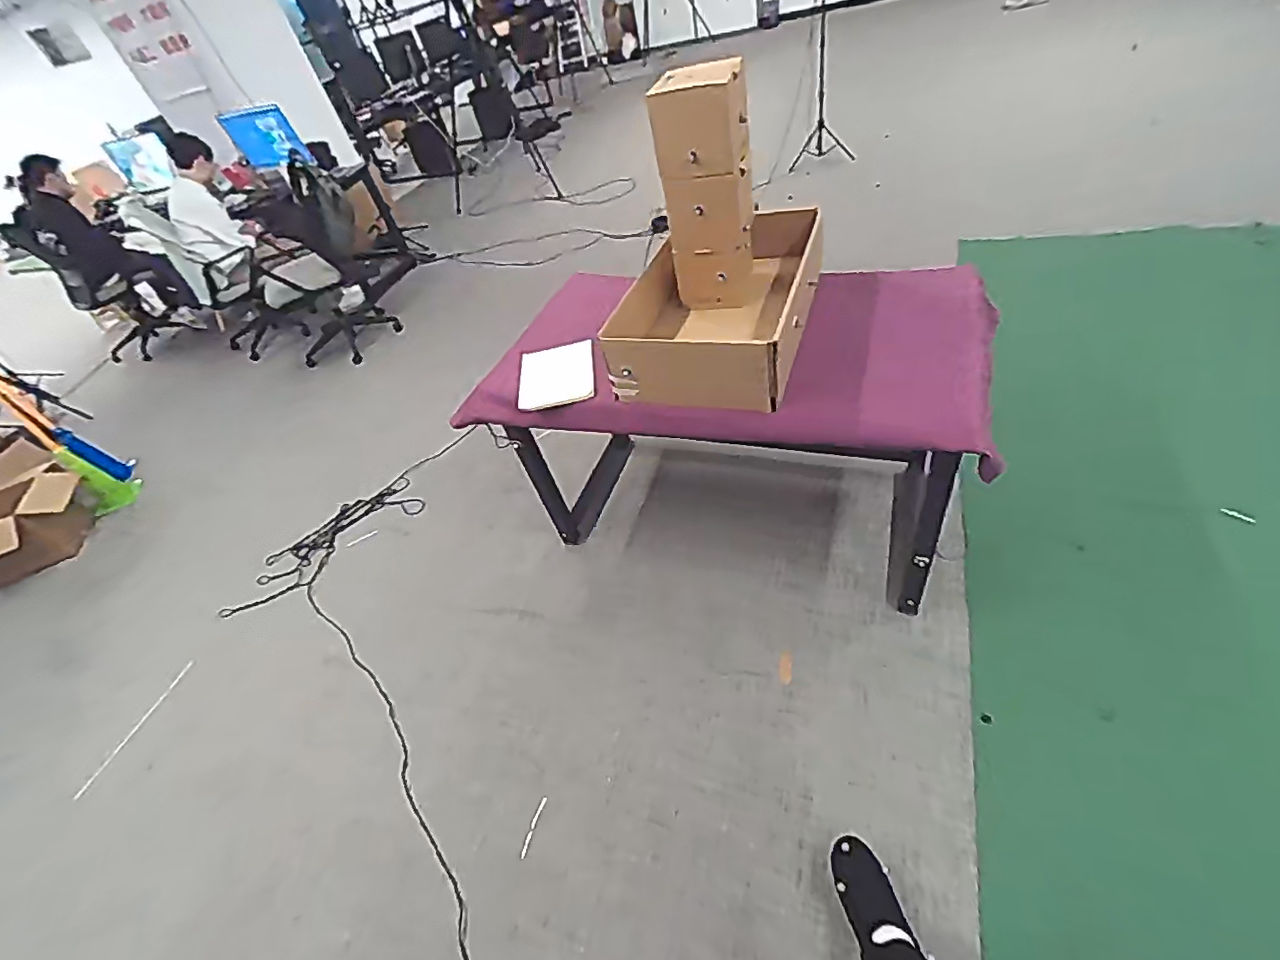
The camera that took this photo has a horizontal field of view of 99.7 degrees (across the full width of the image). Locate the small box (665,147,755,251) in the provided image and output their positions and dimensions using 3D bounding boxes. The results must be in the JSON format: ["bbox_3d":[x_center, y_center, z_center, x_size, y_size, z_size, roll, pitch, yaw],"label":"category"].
[{"bbox_3d":[0.177,-0.672,1.303,0.179,0.176,0.168,6,50,22],"label":"small box"}]

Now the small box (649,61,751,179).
[{"bbox_3d":[0.141,-0.785,1.189,0.179,0.176,0.168,8,51,22],"label":"small box"}]
